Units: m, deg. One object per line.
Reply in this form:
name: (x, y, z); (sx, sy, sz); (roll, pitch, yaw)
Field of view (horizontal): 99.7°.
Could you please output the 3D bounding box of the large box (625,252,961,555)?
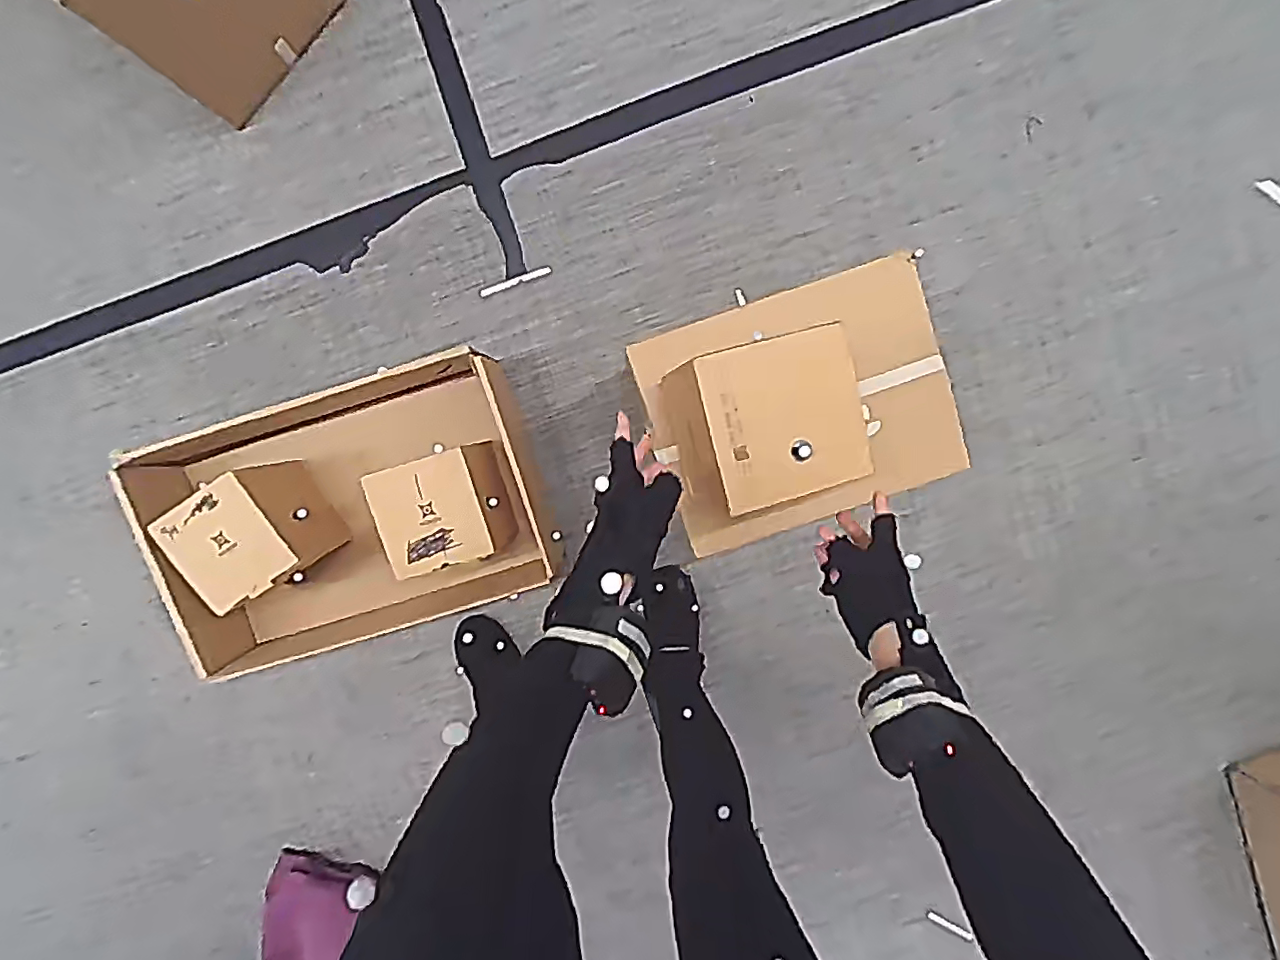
large box: (0.213, -0.114, 0.894); (0.408, 0.320, 0.320); (-19, 97, 0)
